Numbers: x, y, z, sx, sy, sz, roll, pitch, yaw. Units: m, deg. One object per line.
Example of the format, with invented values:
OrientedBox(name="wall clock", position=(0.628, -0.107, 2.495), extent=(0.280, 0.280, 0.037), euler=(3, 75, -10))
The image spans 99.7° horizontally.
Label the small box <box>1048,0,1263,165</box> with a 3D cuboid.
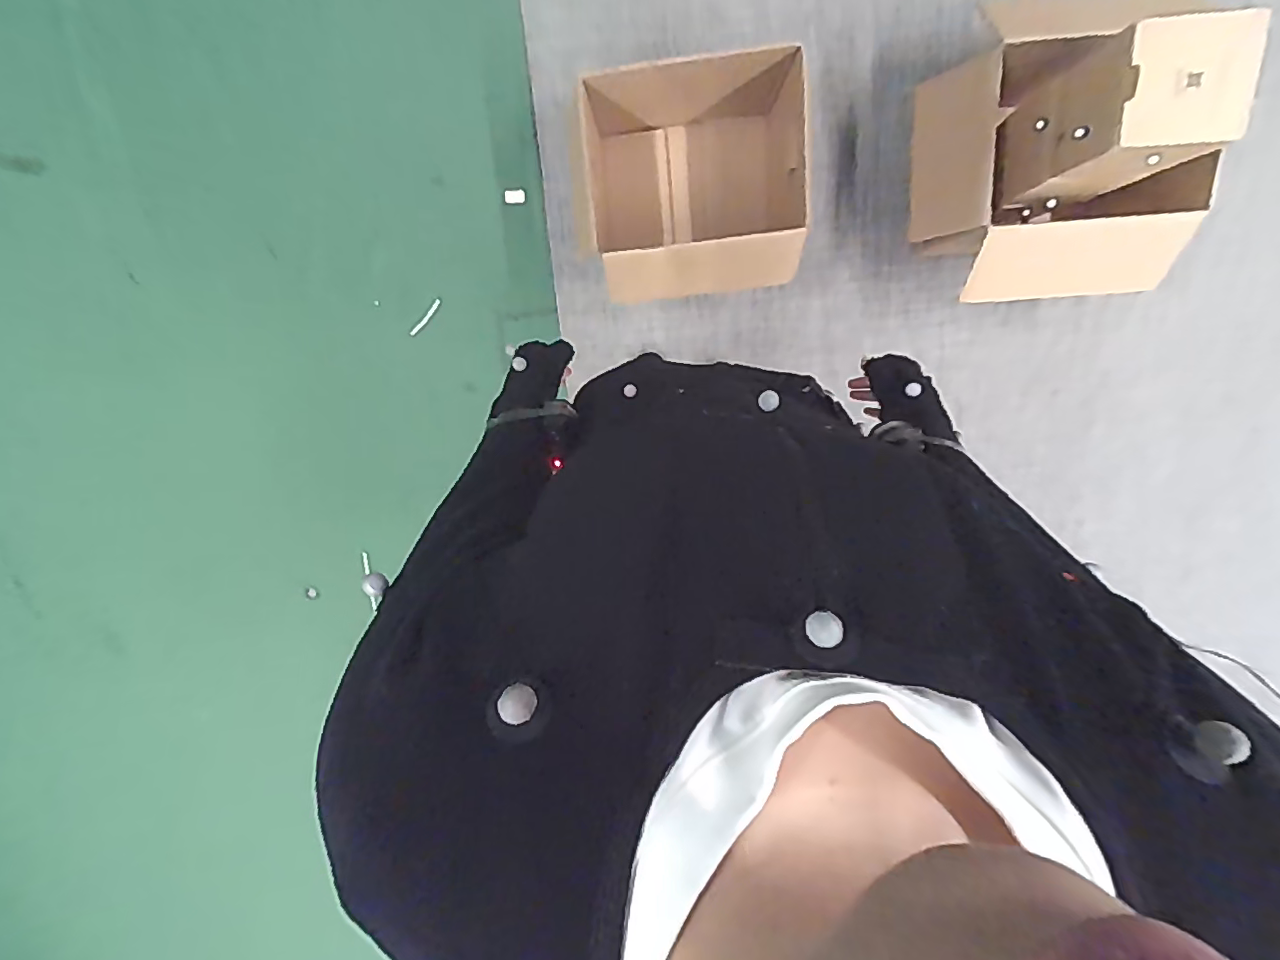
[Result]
OrientedBox(name="small box", position=(0.794, -0.617, 0.857), extent=(0.179, 0.176, 0.168), euler=(-2, 105, 5))
